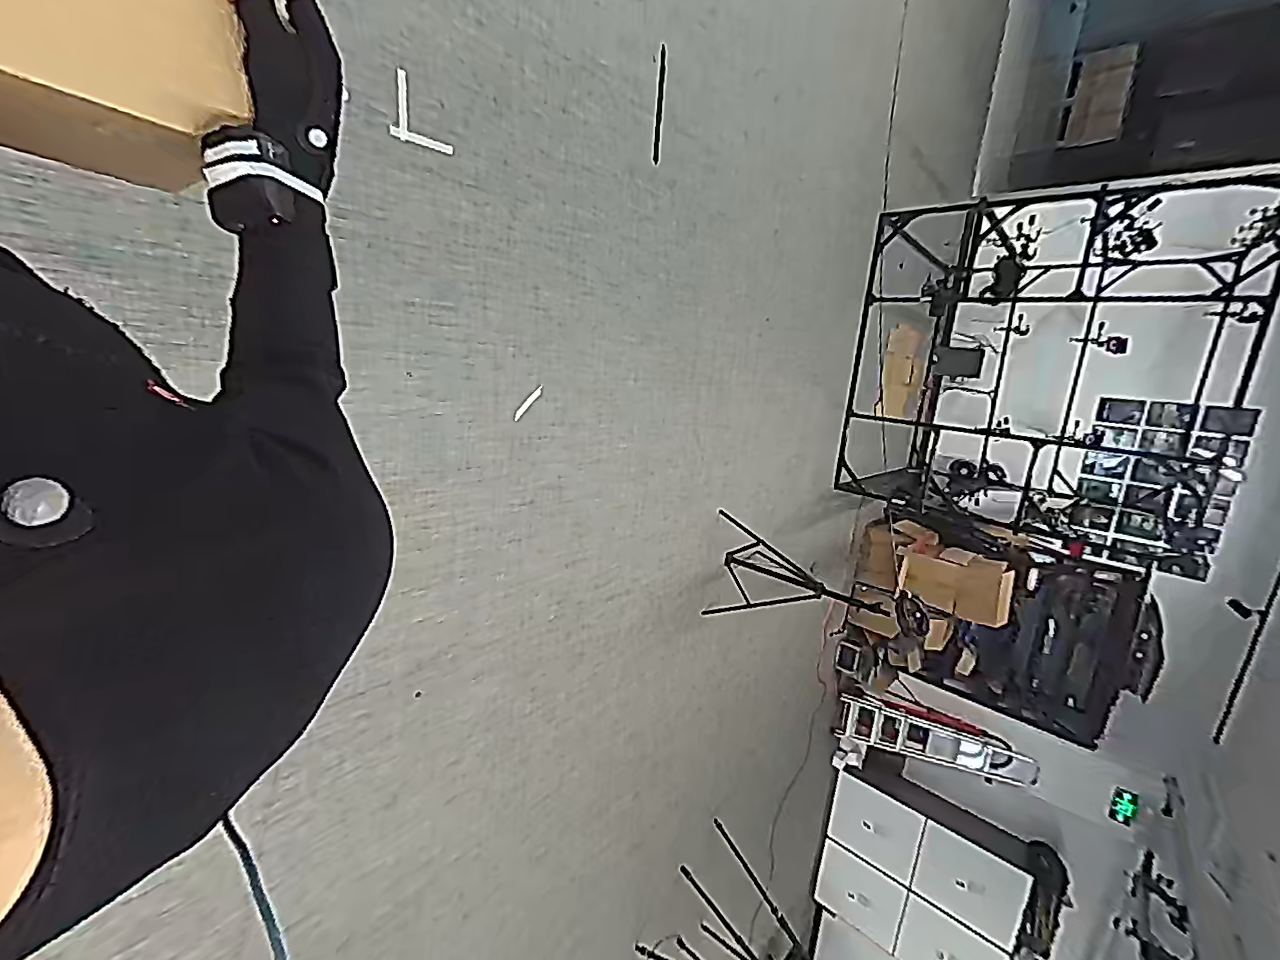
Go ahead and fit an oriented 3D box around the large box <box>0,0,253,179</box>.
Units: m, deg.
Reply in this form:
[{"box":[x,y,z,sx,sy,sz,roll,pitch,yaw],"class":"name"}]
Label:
[{"box":[-0.543,-0.445,0.358,0.408,0.320,0.320,-5,109,-50],"class":"large box"}]
